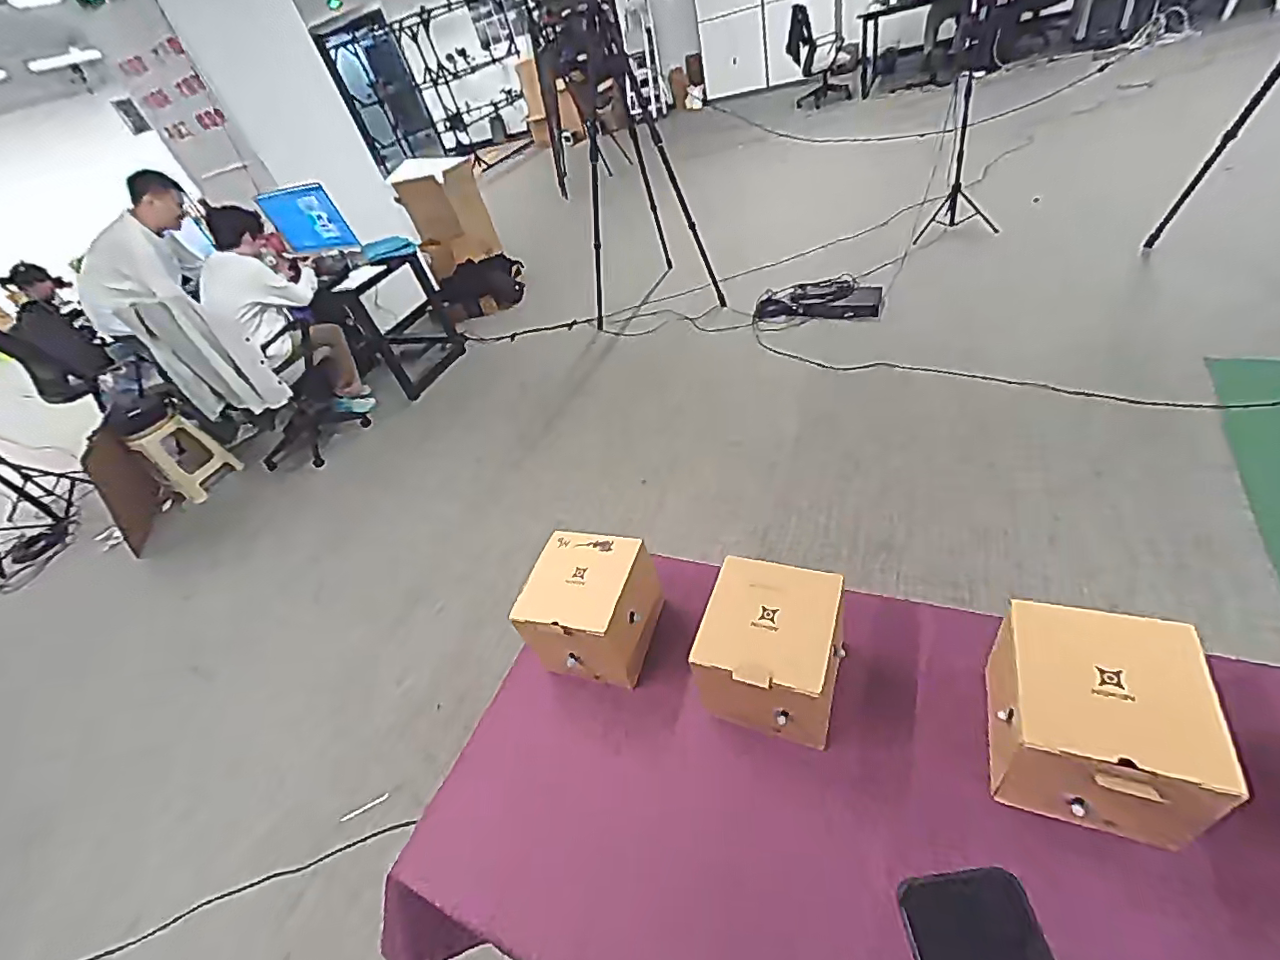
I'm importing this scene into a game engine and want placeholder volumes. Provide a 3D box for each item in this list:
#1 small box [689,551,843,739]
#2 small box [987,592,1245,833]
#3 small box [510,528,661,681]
[{"bbox_3d":[0.186,0.230,0.756,0.168,0.176,0.179,7,48,26],"label":"small box"},{"bbox_3d":[0.501,0.255,0.606,0.168,0.176,0.179,5,47,25],"label":"small box"},{"bbox_3d":[-0.076,0.203,0.884,0.168,0.176,0.179,3,47,23],"label":"small box"}]
